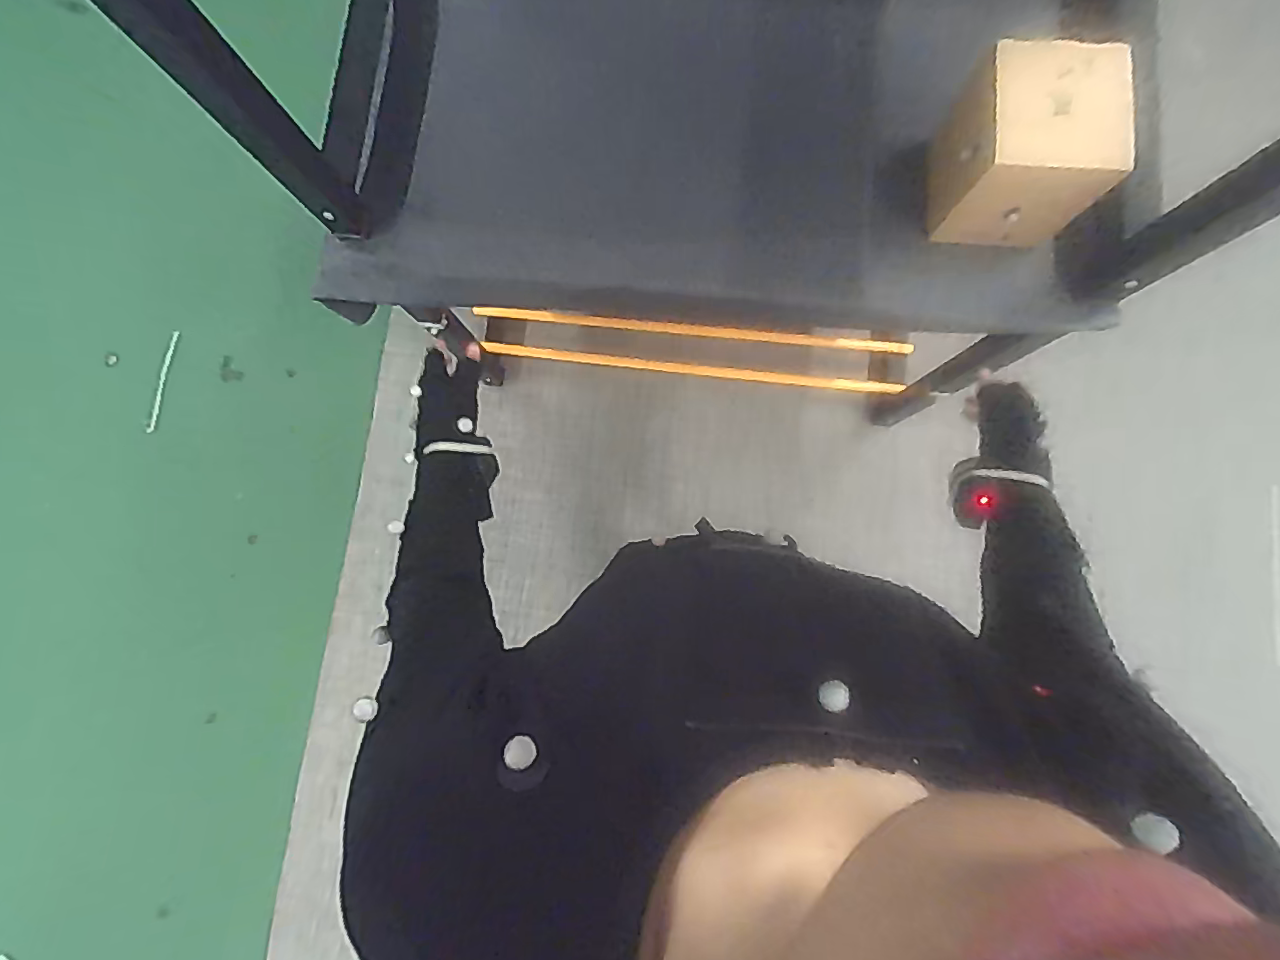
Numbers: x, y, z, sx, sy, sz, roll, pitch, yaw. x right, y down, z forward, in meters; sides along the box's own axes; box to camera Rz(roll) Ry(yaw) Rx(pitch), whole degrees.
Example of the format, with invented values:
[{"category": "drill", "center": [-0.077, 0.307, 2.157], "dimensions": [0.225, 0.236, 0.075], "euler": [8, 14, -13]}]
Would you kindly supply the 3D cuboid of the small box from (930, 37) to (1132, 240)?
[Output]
[{"category": "small box", "center": [0.523, -0.457, 0.746], "dimensions": [0.168, 0.176, 0.179], "euler": [5, 82, 3]}]
